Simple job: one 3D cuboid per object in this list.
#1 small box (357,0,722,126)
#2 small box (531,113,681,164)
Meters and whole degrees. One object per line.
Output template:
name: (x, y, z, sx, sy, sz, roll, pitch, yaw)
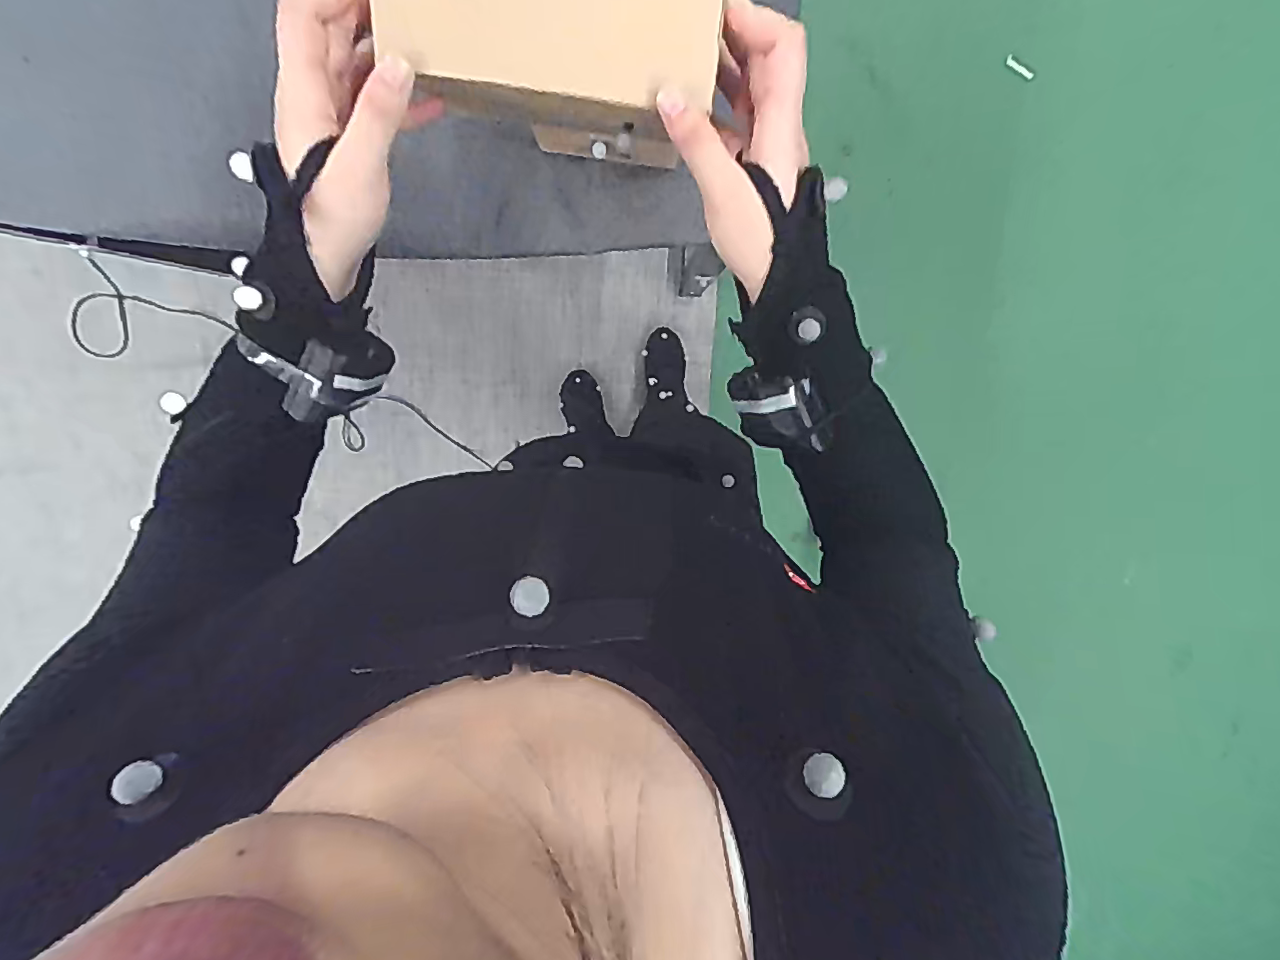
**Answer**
small box: (-0.046, -0.313, 0.306, 0.179, 0.176, 0.168, 4, 117, -4)
small box: (-0.031, -0.456, 0.549, 0.168, 0.176, 0.179, 7, 101, -1)
